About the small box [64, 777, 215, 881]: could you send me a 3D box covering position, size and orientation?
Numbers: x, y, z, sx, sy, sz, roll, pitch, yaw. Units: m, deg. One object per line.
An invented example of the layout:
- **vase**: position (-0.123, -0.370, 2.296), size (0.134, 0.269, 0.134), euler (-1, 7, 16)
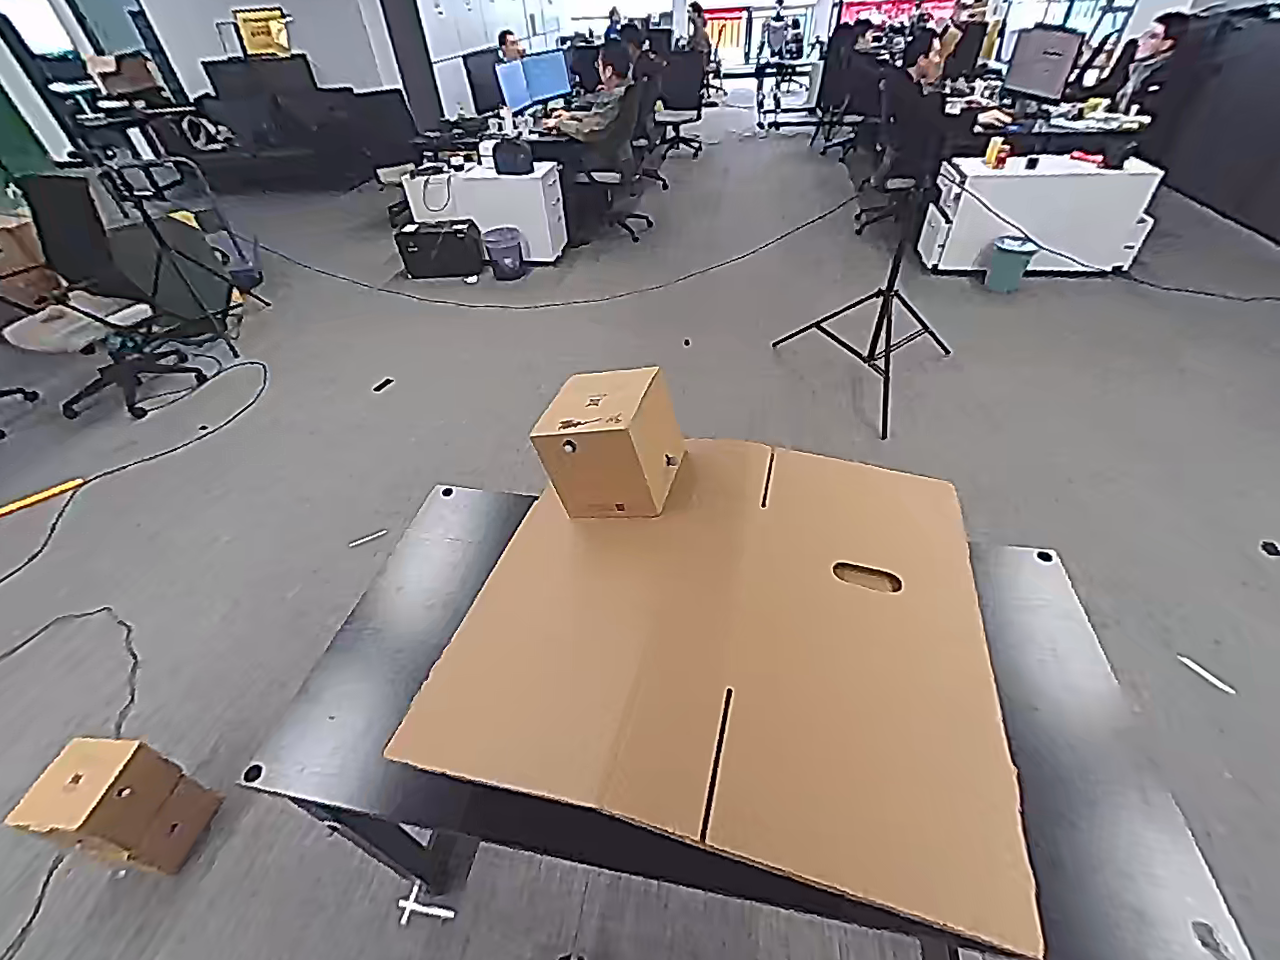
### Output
- **small box**: position (-1.175, 0.827, 1.294), size (0.168, 0.176, 0.179), euler (2, 43, 7)

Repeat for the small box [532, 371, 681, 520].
- **small box**: position (-0.041, -0.054, 0.875), size (0.168, 0.176, 0.179), euler (-3, 38, 24)

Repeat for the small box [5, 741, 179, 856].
- **small box**: position (-1.183, 0.703, 1.189), size (0.168, 0.176, 0.179), euler (1, 41, 4)
